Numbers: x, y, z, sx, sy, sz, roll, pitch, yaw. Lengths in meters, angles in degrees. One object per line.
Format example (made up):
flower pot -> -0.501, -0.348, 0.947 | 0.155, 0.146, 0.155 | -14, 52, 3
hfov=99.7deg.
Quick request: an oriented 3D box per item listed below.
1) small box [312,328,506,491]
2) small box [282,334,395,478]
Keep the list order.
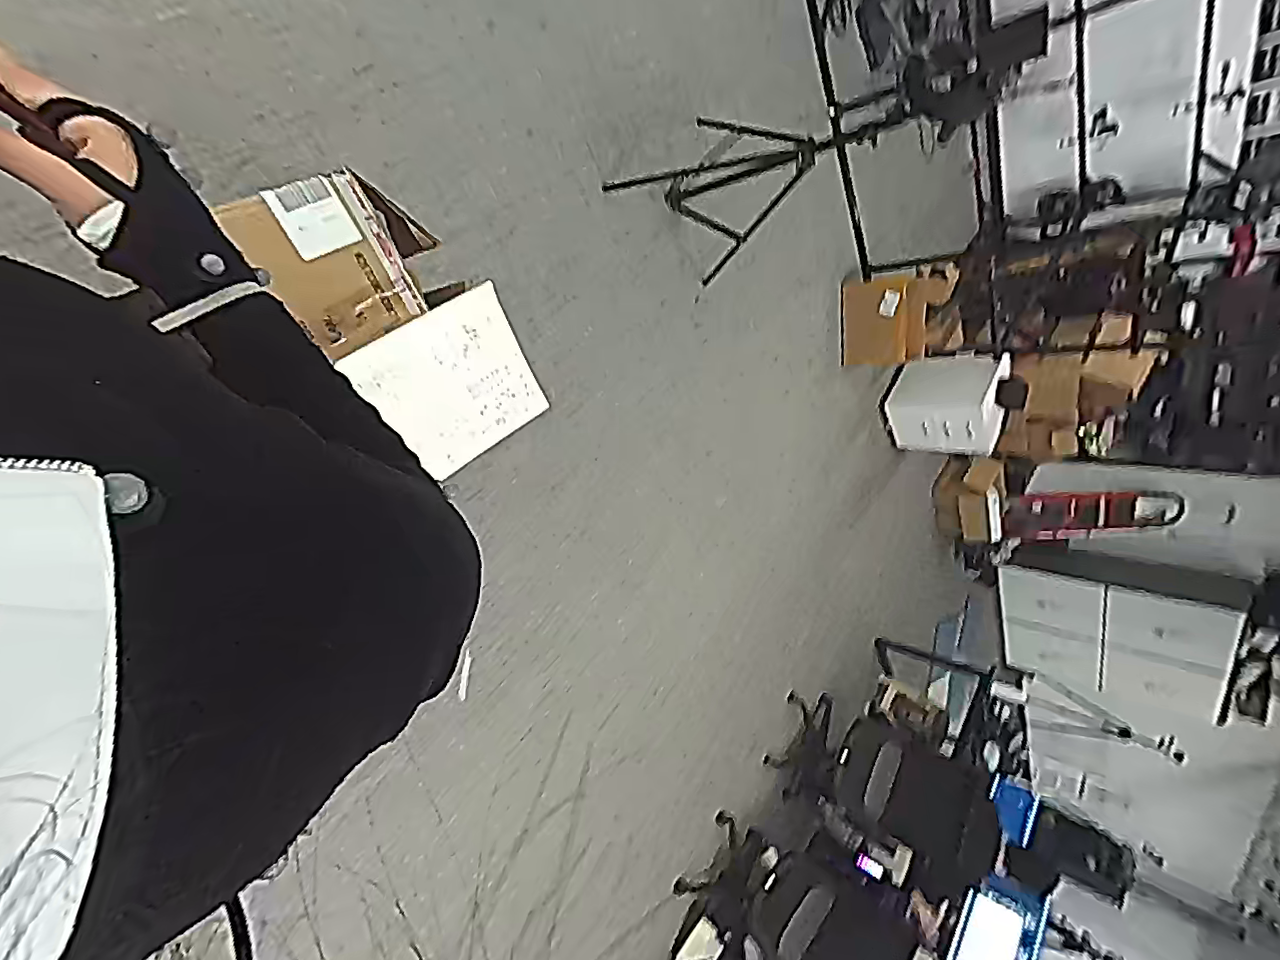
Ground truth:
small box -> -0.342, -0.112, 0.803 | 0.179, 0.176, 0.168 | -45, 127, -28
small box -> -0.460, -0.130, 0.916 | 0.168, 0.176, 0.179 | -47, 127, -27
